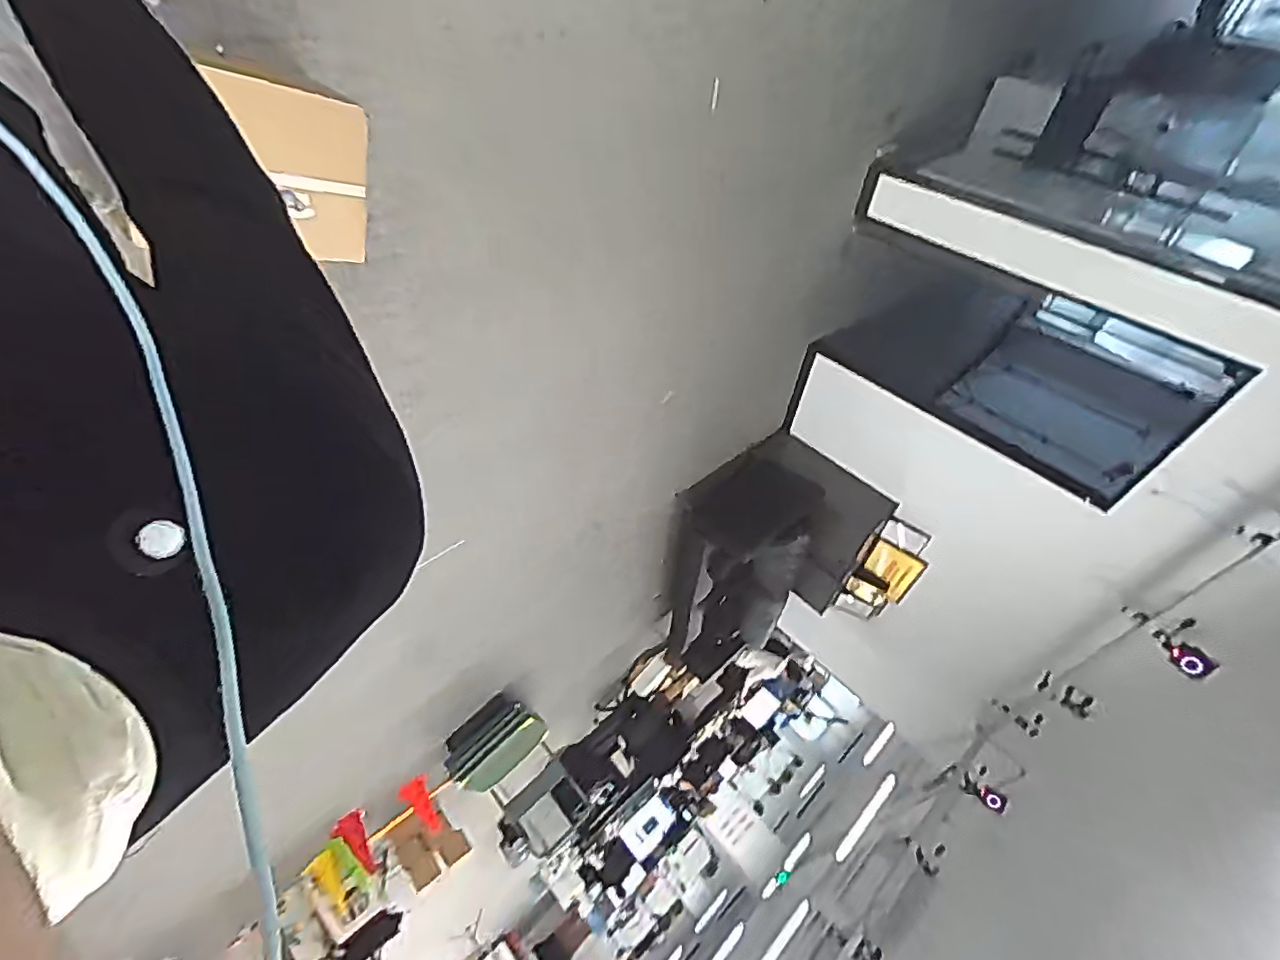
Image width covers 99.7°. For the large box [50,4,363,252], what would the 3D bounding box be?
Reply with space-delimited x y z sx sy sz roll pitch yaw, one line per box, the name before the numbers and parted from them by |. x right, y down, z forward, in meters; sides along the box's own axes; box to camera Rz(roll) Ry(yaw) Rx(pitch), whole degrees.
large box | -0.831 -0.676 1.084 0.408 0.320 0.320 -19 139 -45
